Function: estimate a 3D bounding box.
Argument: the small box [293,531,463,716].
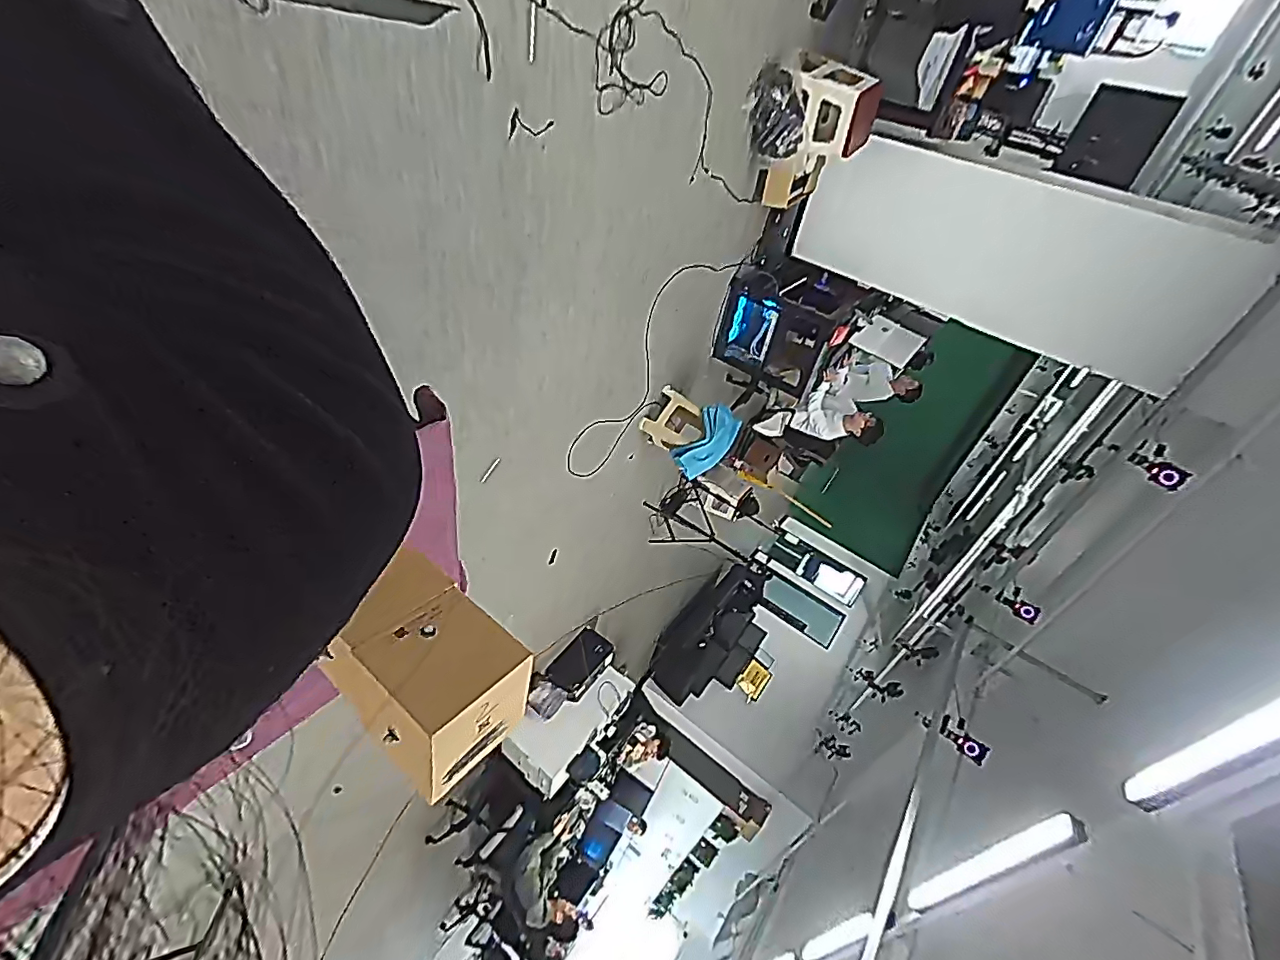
[{"bbox_3d":[-0.393,0.211,0.828,0.168,0.176,0.179,-34,147,-45],"label":"small box"}]
